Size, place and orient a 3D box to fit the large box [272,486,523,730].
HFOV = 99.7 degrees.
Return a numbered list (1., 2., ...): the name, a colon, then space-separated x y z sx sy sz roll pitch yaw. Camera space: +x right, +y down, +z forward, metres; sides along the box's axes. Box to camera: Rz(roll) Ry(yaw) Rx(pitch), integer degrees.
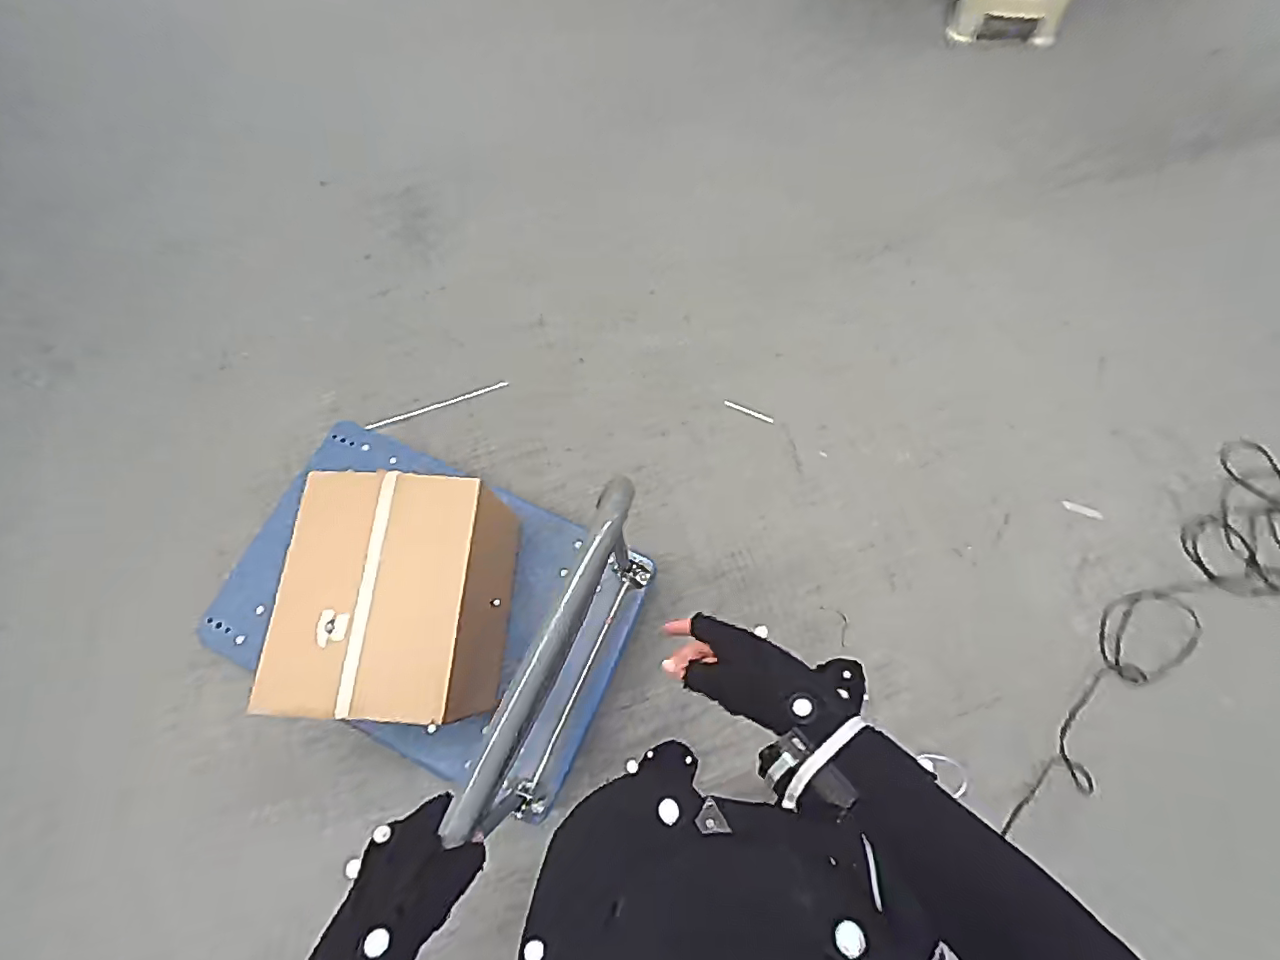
1. large box: -0.427 0.246 1.057 0.320 0.320 0.408 2 72 3
